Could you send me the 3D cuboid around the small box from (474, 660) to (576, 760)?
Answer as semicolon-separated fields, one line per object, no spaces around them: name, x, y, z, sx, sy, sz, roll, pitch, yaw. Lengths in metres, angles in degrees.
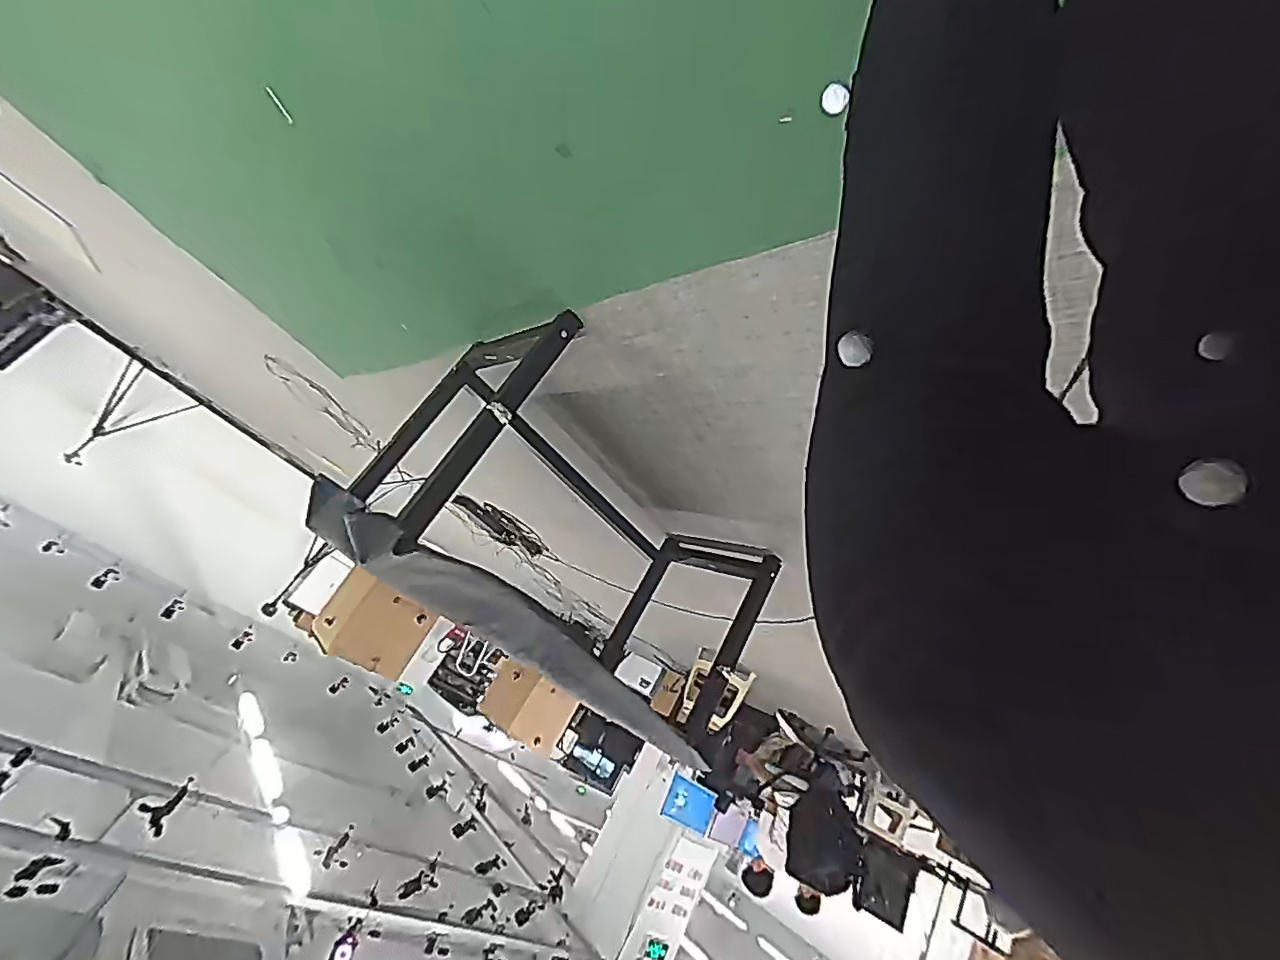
small box;-0.304;0.608;1.452;0.179;0.176;0.168;6;146;50

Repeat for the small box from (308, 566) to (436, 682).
small box;-0.577;0.306;1.177;0.179;0.176;0.168;7;149;49
